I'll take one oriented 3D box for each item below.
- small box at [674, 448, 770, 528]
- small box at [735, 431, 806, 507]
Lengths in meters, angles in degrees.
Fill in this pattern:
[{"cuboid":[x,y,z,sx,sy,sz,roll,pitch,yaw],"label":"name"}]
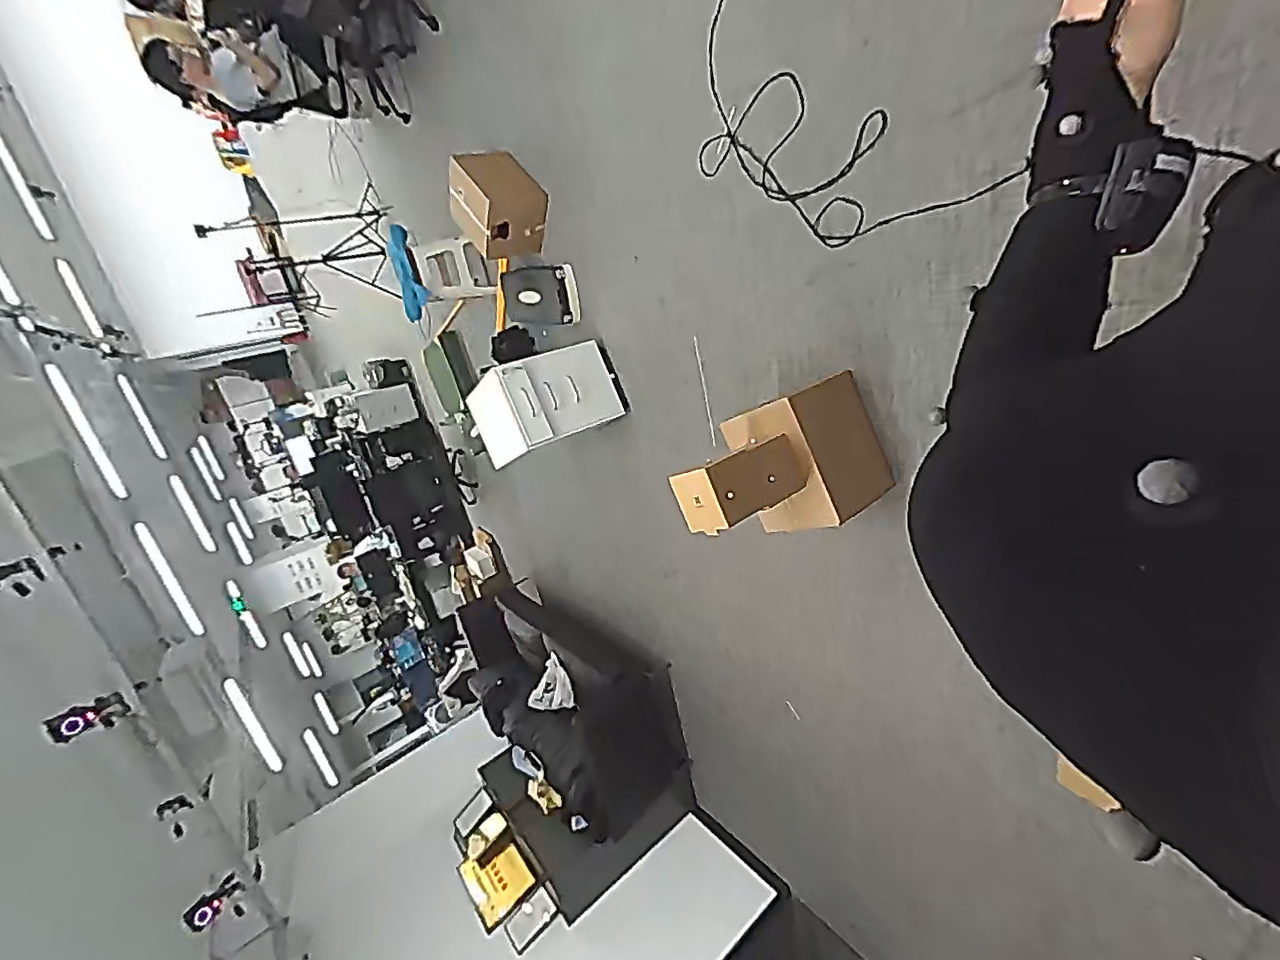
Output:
[{"cuboid":[0.233,0.019,1.521,0.168,0.176,0.179,-16,98,57],"label":"small box"},{"cuboid":[0.363,-0.027,1.608,0.168,0.176,0.179,-17,97,57],"label":"small box"}]
